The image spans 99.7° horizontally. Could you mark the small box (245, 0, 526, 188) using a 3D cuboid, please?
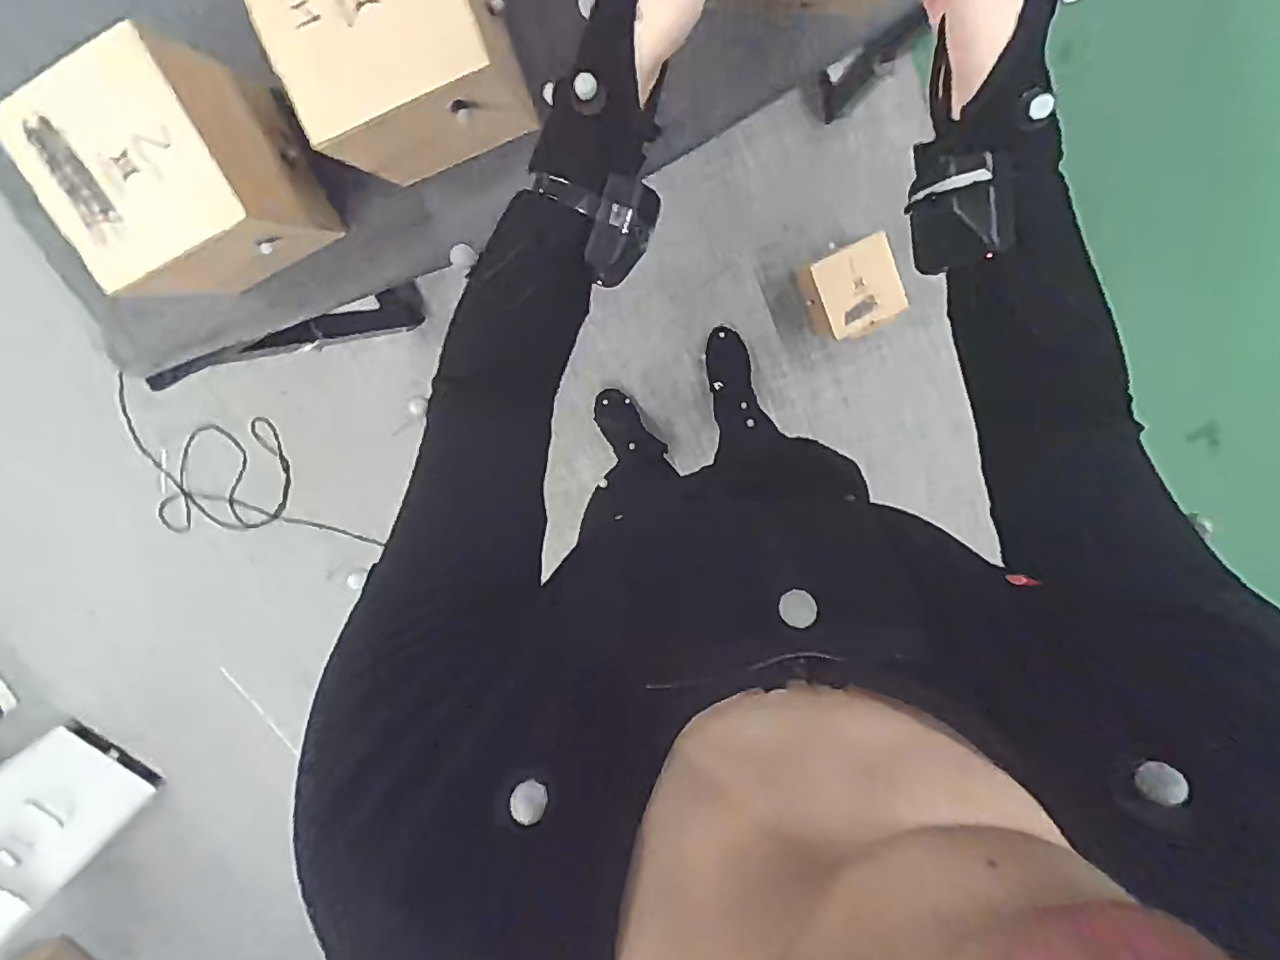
[{"bbox_3d":[-0.224,-0.406,0.515,0.179,0.176,0.168,-17,105,10],"label":"small box"}]

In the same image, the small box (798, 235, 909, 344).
[{"bbox_3d":[0.479,-0.432,1.233,0.168,0.176,0.179,-24,105,12],"label":"small box"}]
